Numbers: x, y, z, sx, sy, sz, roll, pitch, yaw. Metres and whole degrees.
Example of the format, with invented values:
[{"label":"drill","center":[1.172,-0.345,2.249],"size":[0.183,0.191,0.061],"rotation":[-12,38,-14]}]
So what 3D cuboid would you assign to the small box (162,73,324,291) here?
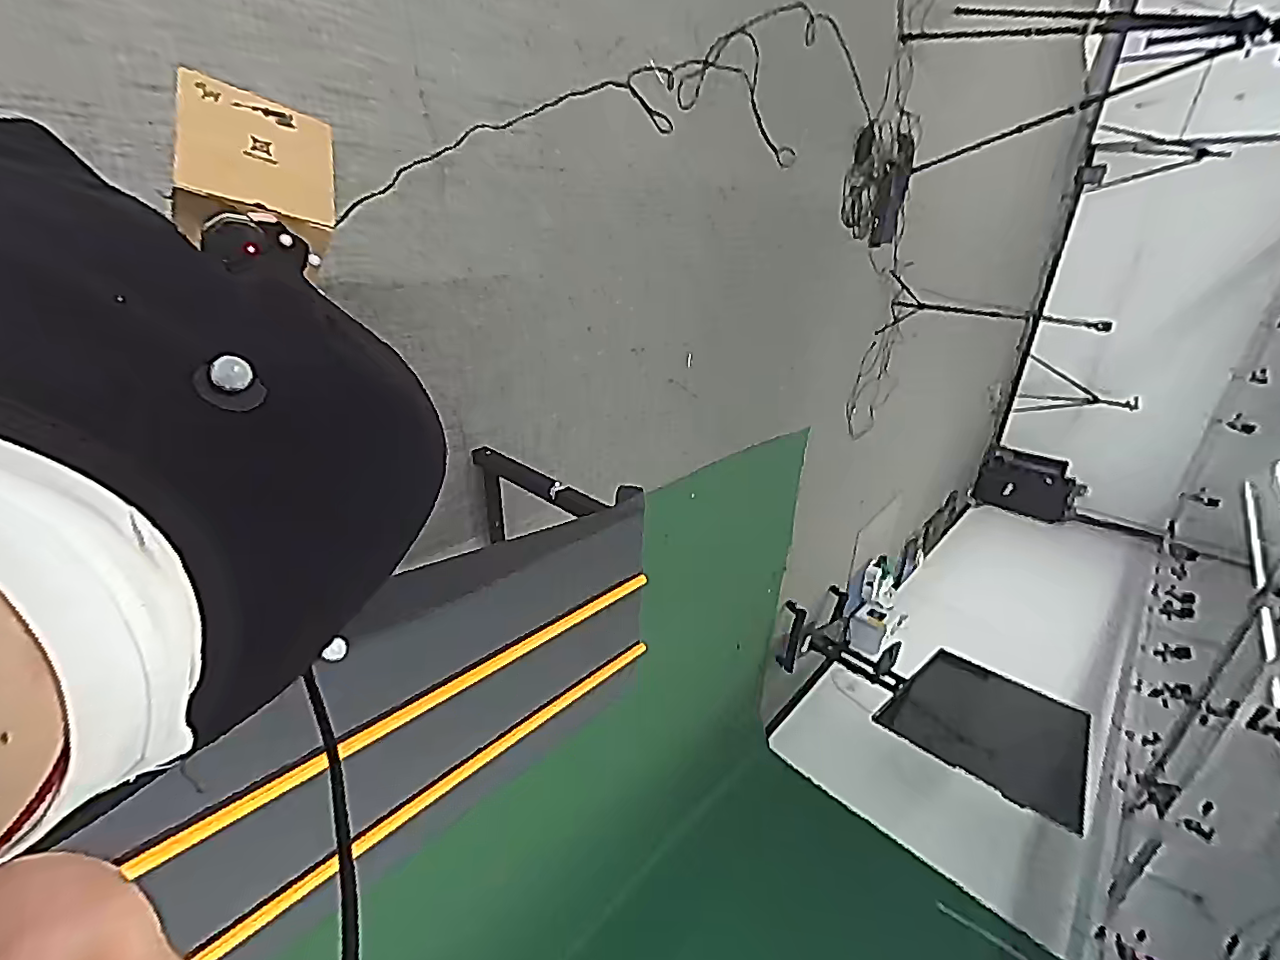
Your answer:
[{"label":"small box","center":[-0.545,-0.389,0.745],"size":[0.168,0.176,0.179],"rotation":[-2,74,-39]}]
